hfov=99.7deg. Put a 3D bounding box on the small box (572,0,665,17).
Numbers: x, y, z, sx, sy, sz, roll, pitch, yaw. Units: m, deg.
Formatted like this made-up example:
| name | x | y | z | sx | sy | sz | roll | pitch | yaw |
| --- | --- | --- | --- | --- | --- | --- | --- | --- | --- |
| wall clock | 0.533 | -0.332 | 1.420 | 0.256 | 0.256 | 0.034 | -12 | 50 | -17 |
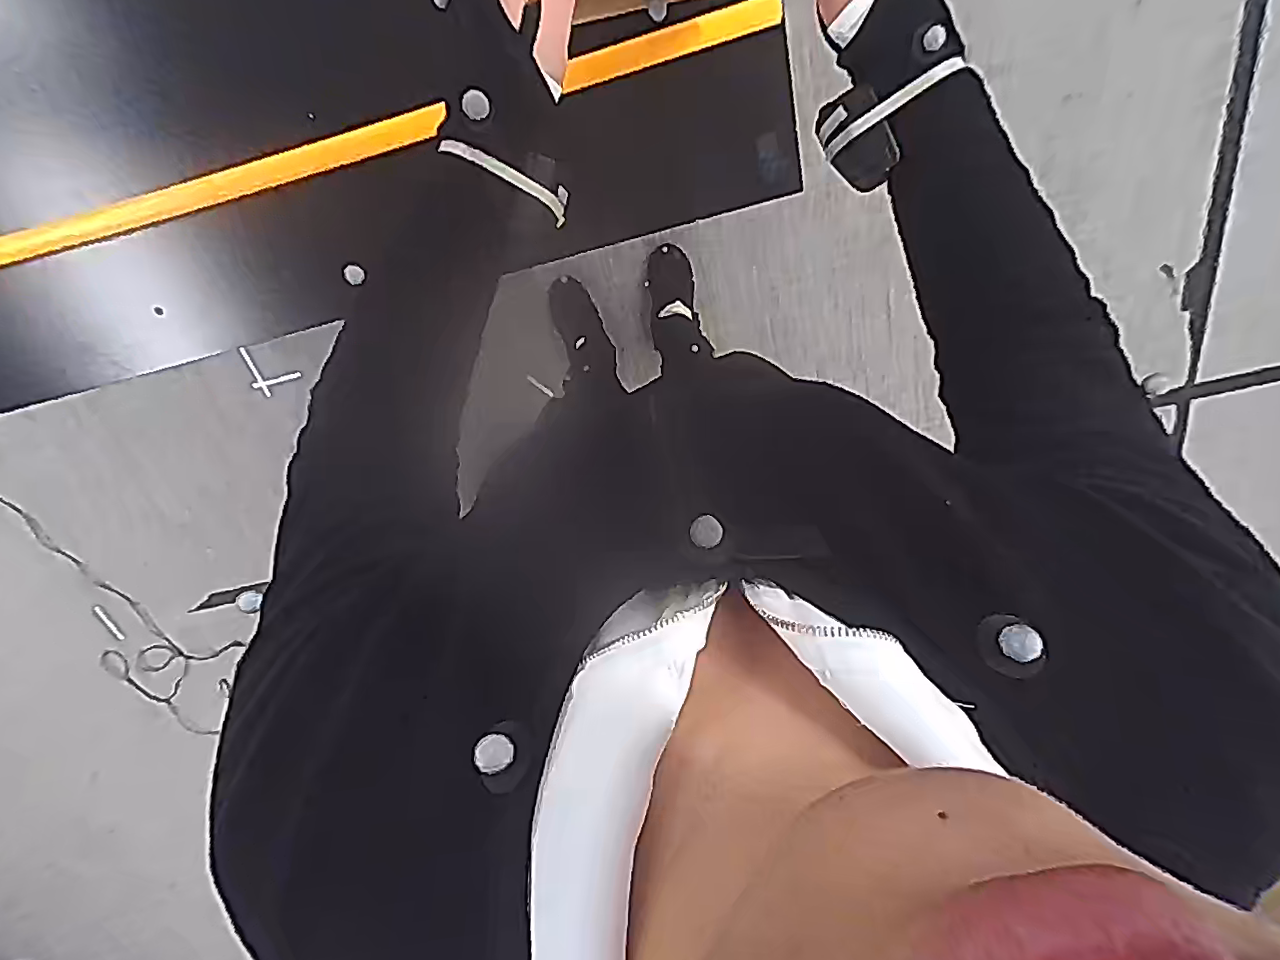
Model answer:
| name | x | y | z | sx | sy | sz | roll | pitch | yaw |
| --- | --- | --- | --- | --- | --- | --- | --- | --- | --- |
| small box | 0.007 | -0.461 | 0.371 | 0.168 | 0.176 | 0.179 | -10 | 121 | 3 |
